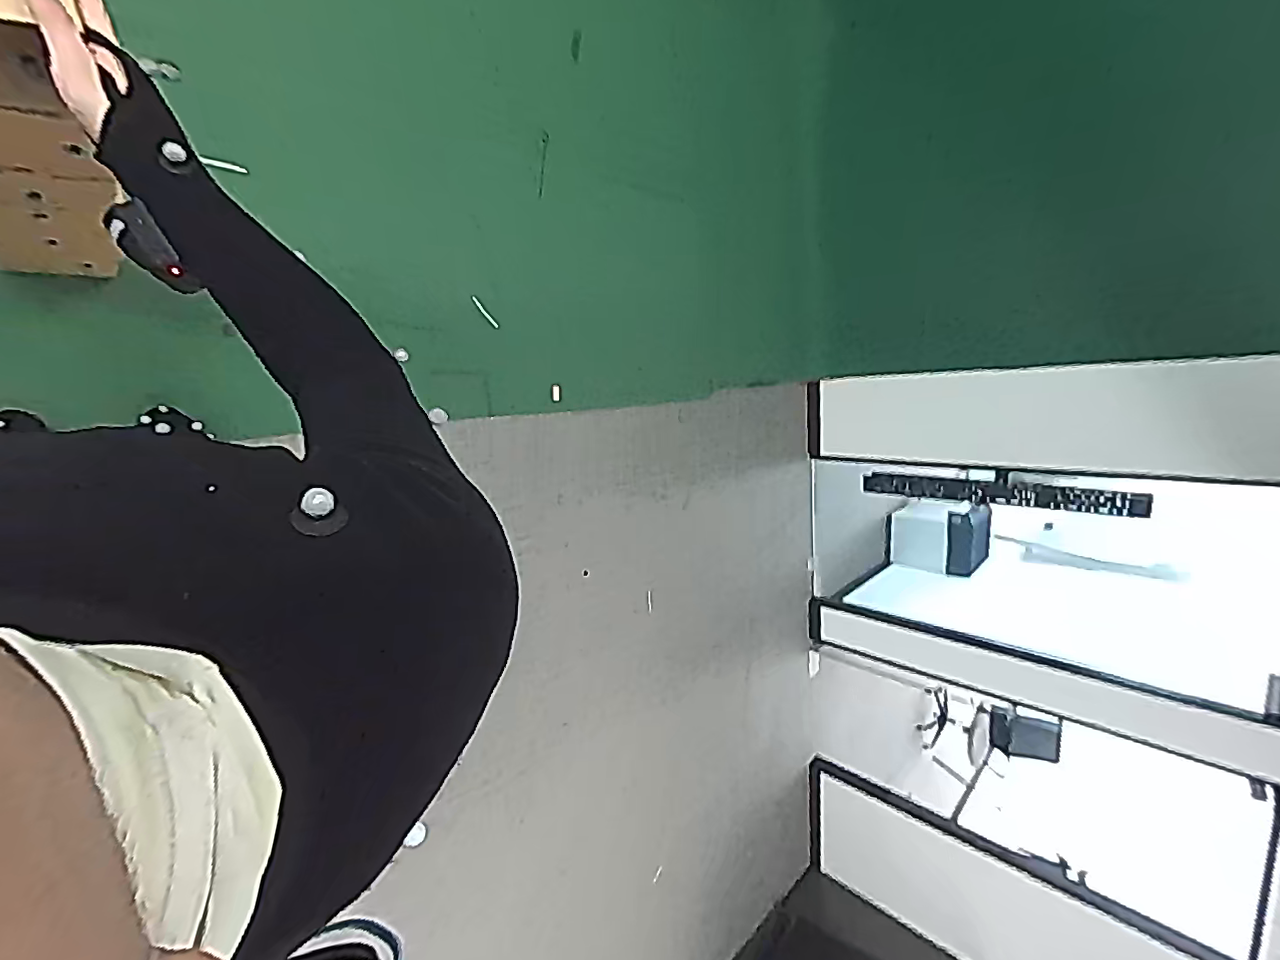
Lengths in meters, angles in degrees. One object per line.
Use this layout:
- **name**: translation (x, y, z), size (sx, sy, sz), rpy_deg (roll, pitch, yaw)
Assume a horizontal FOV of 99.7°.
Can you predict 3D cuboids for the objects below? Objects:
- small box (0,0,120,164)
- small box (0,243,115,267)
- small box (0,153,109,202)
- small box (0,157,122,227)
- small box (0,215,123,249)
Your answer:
- **small box**: translation (-0.684, -0.456, 0.567), size (0.179, 0.176, 0.168), rpy_deg (-14, 104, -42)
- **small box**: translation (-1.140, -0.512, 1.031), size (0.179, 0.176, 0.168), rpy_deg (-12, 104, -43)
- **small box**: translation (-0.801, -0.469, 0.681), size (0.168, 0.176, 0.179), rpy_deg (-15, 107, -42)
- **small box**: translation (-0.909, -0.485, 0.802), size (0.179, 0.176, 0.168), rpy_deg (-18, 108, -42)
- **small box**: translation (-1.022, -0.500, 0.920), size (0.179, 0.176, 0.168), rpy_deg (-16, 106, -42)
